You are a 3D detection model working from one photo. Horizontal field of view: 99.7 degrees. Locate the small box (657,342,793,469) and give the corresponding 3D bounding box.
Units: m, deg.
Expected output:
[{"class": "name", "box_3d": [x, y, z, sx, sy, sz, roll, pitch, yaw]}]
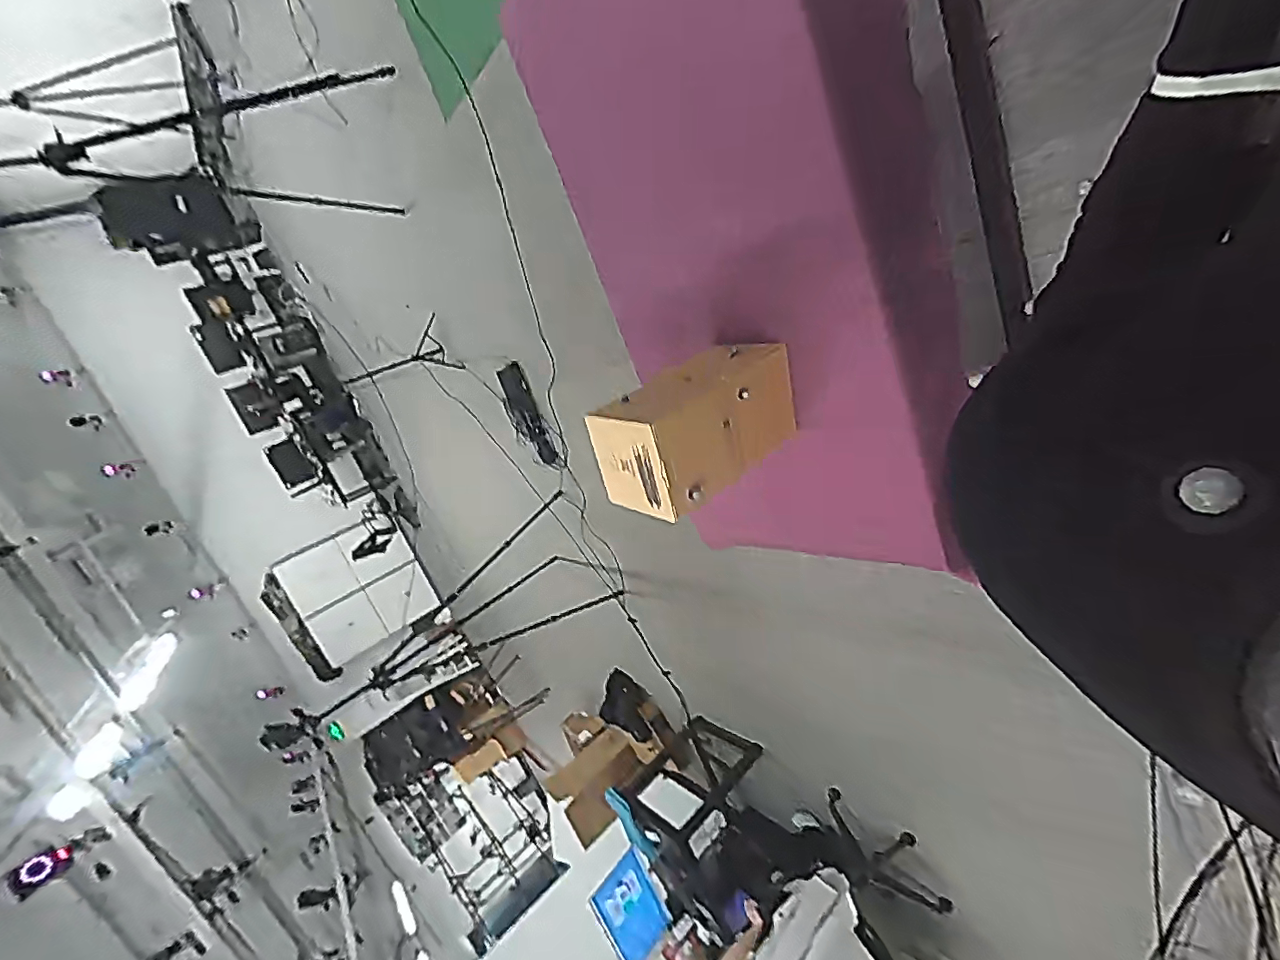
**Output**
[{"class": "small box", "box_3d": [0.161, -0.142, 0.985, 0.168, 0.176, 0.179, 14, 126, 48]}]
